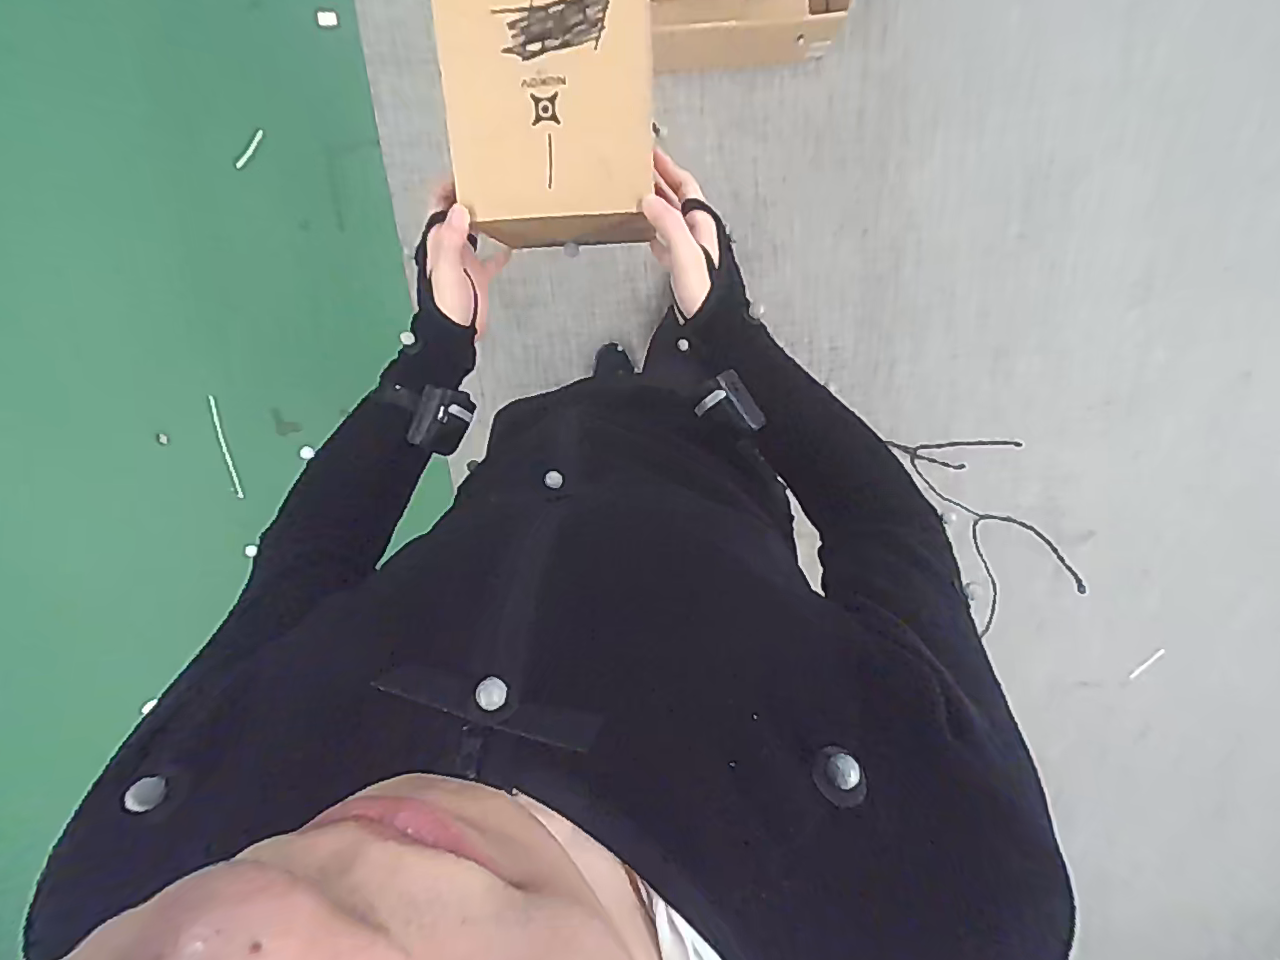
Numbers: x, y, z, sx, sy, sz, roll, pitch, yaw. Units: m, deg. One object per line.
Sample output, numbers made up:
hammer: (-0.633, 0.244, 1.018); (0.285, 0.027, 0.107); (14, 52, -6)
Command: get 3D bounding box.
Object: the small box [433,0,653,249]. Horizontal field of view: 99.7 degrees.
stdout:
small box: (-0.072, -0.322, 0.500); (0.168, 0.176, 0.179); (-1, 106, 2)
